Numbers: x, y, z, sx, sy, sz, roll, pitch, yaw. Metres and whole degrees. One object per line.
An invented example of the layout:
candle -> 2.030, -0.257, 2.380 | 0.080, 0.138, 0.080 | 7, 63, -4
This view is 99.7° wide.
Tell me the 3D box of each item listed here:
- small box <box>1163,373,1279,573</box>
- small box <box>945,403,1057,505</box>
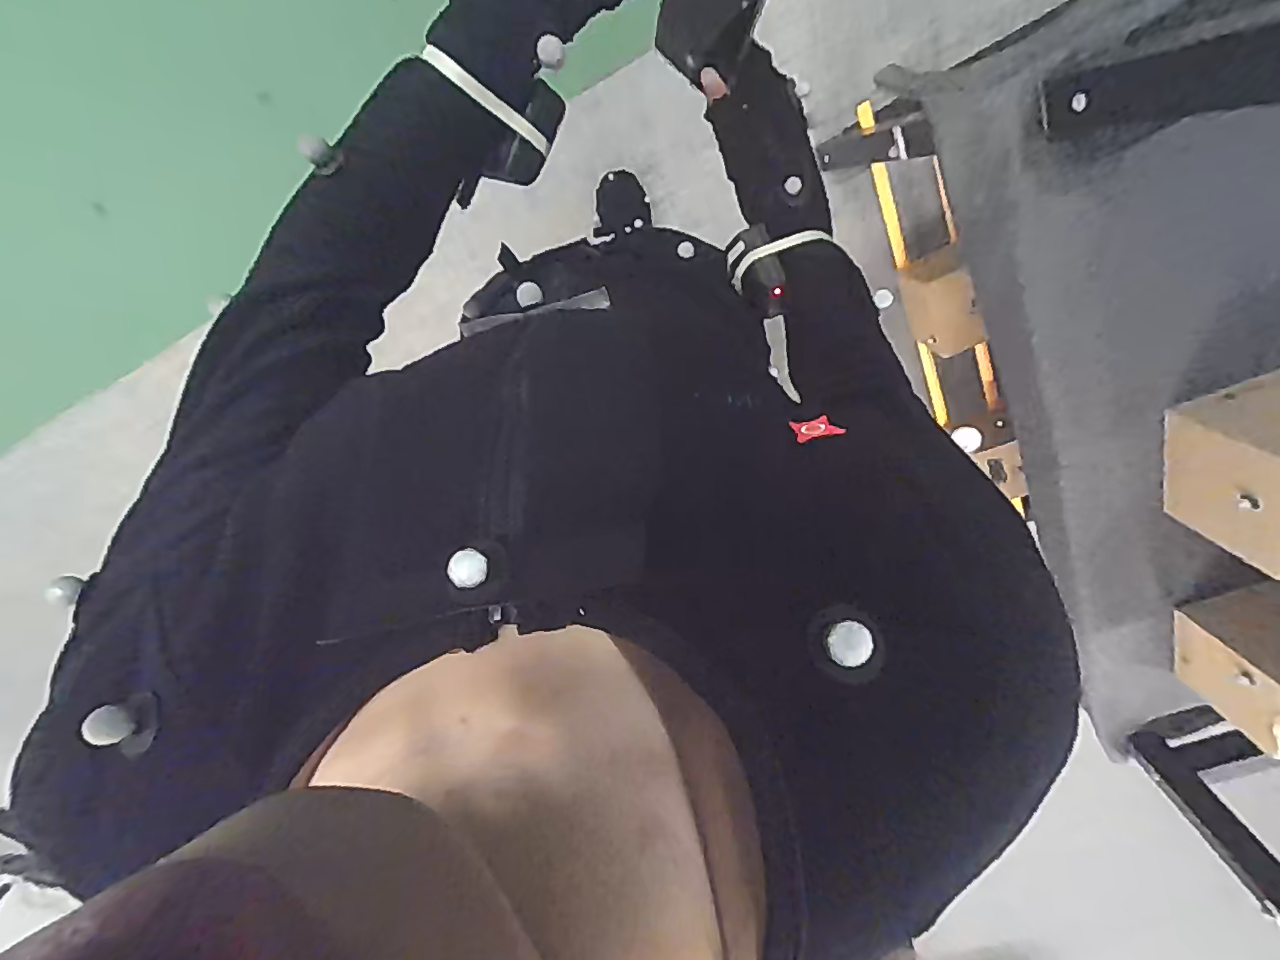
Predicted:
small box -> 0.800, -0.020, 0.665 | 0.168, 0.176, 0.179 | -22, 116, 11
small box -> 0.887, -0.068, 1.345 | 0.179, 0.176, 0.168 | -21, 116, 11
